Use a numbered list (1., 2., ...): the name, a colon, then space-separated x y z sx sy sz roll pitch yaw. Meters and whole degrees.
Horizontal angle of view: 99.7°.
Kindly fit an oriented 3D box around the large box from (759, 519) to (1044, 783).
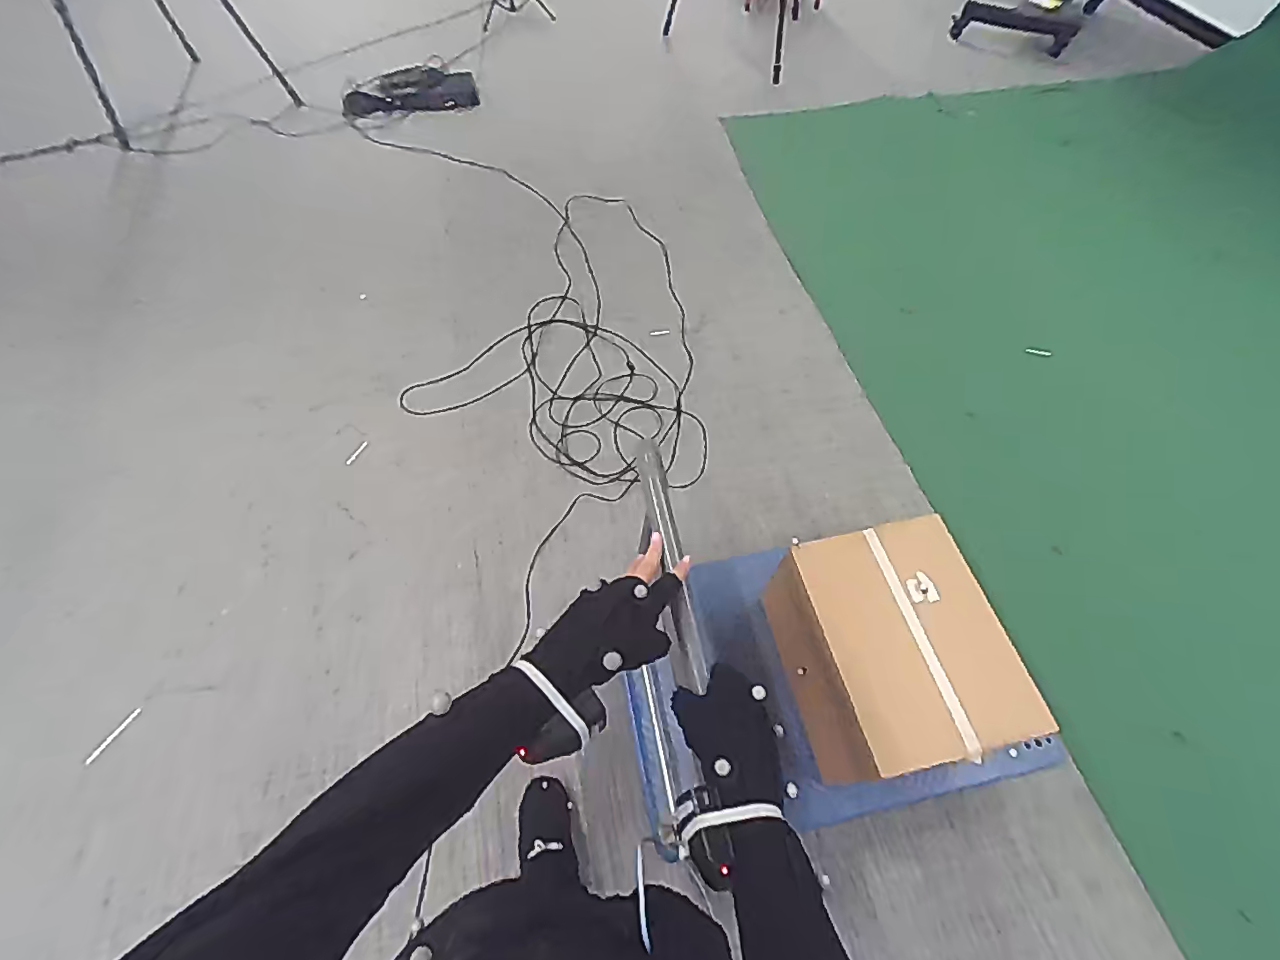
1. large box: 0.473 0.348 1.092 0.320 0.320 0.408 -11 59 -7
